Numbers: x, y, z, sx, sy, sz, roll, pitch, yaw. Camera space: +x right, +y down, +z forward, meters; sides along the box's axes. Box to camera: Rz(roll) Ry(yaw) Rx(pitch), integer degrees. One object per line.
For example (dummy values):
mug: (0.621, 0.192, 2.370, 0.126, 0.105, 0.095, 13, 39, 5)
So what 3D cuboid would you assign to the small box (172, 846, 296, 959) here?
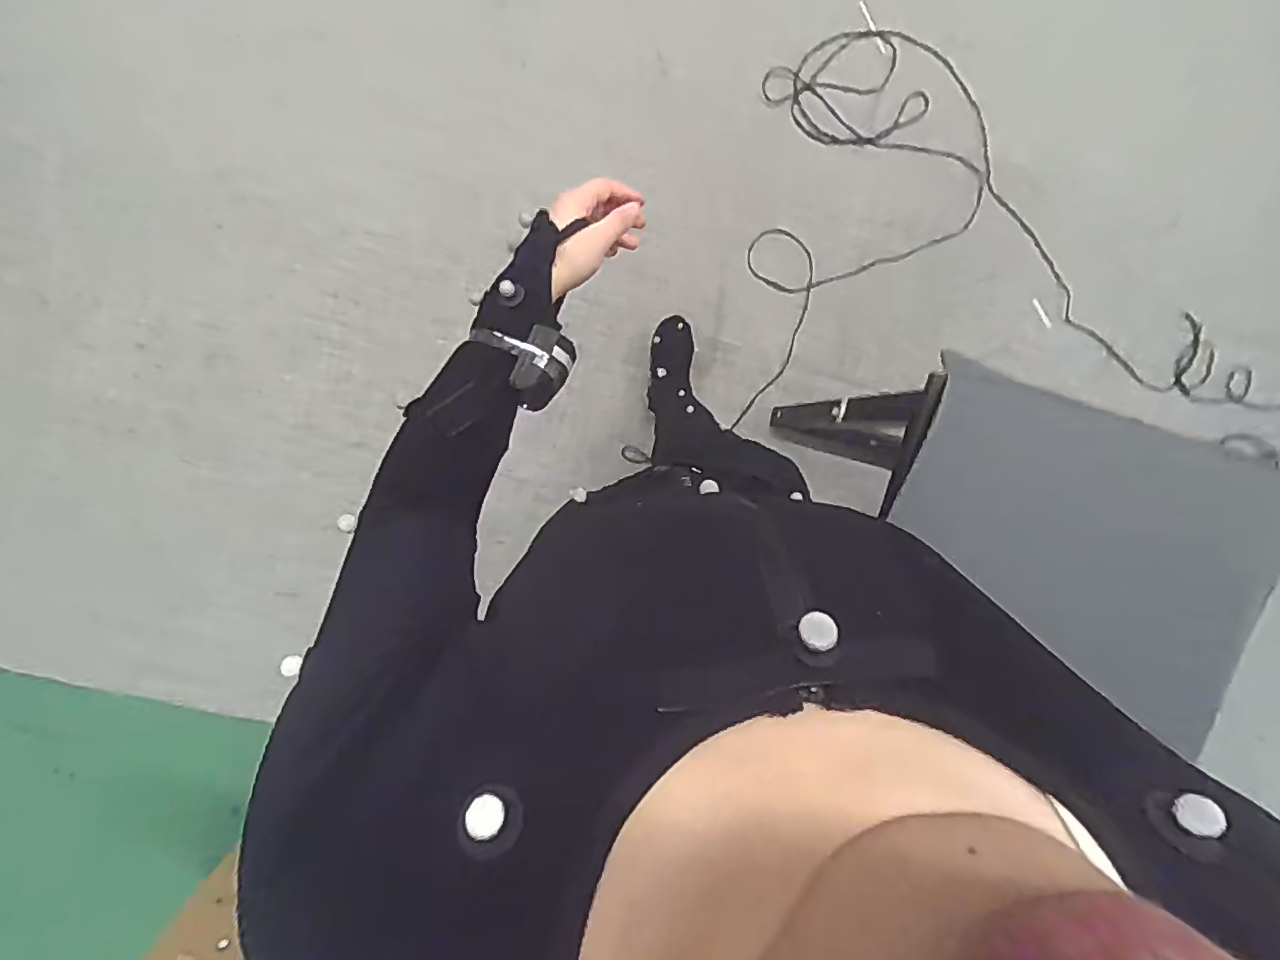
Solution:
small box: (-1.051, 1.104, 1.413, 0.179, 0.176, 0.168, 20, 93, -6)
